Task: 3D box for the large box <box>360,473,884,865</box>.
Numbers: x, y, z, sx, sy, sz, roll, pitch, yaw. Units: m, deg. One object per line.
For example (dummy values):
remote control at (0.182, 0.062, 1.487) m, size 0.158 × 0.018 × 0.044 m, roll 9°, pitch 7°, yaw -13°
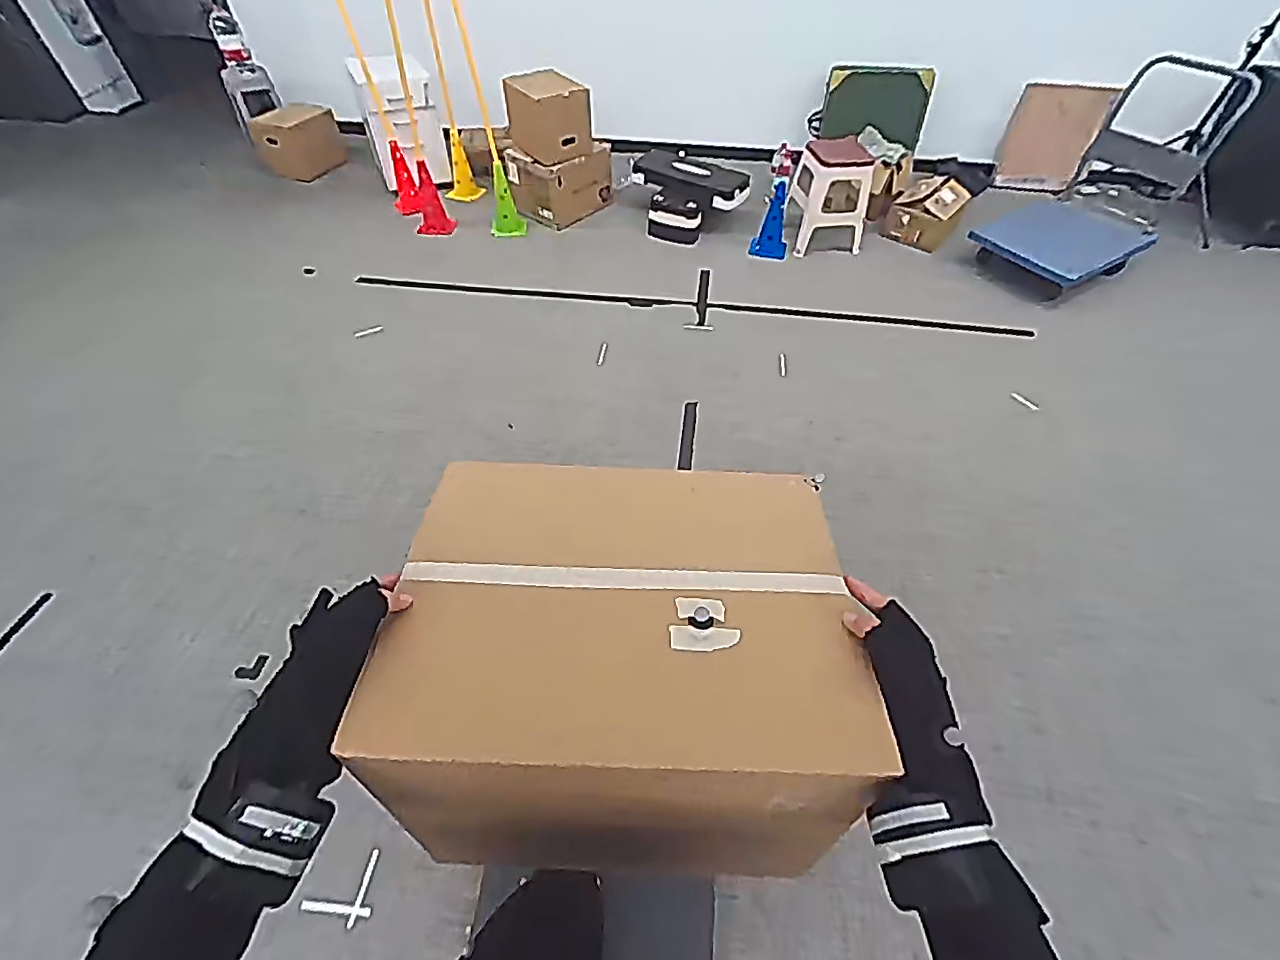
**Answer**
large box at (-0.017, 0.211, 0.610) m, size 0.408 × 0.320 × 0.320 m, roll 3°, pitch 43°, yaw 0°
